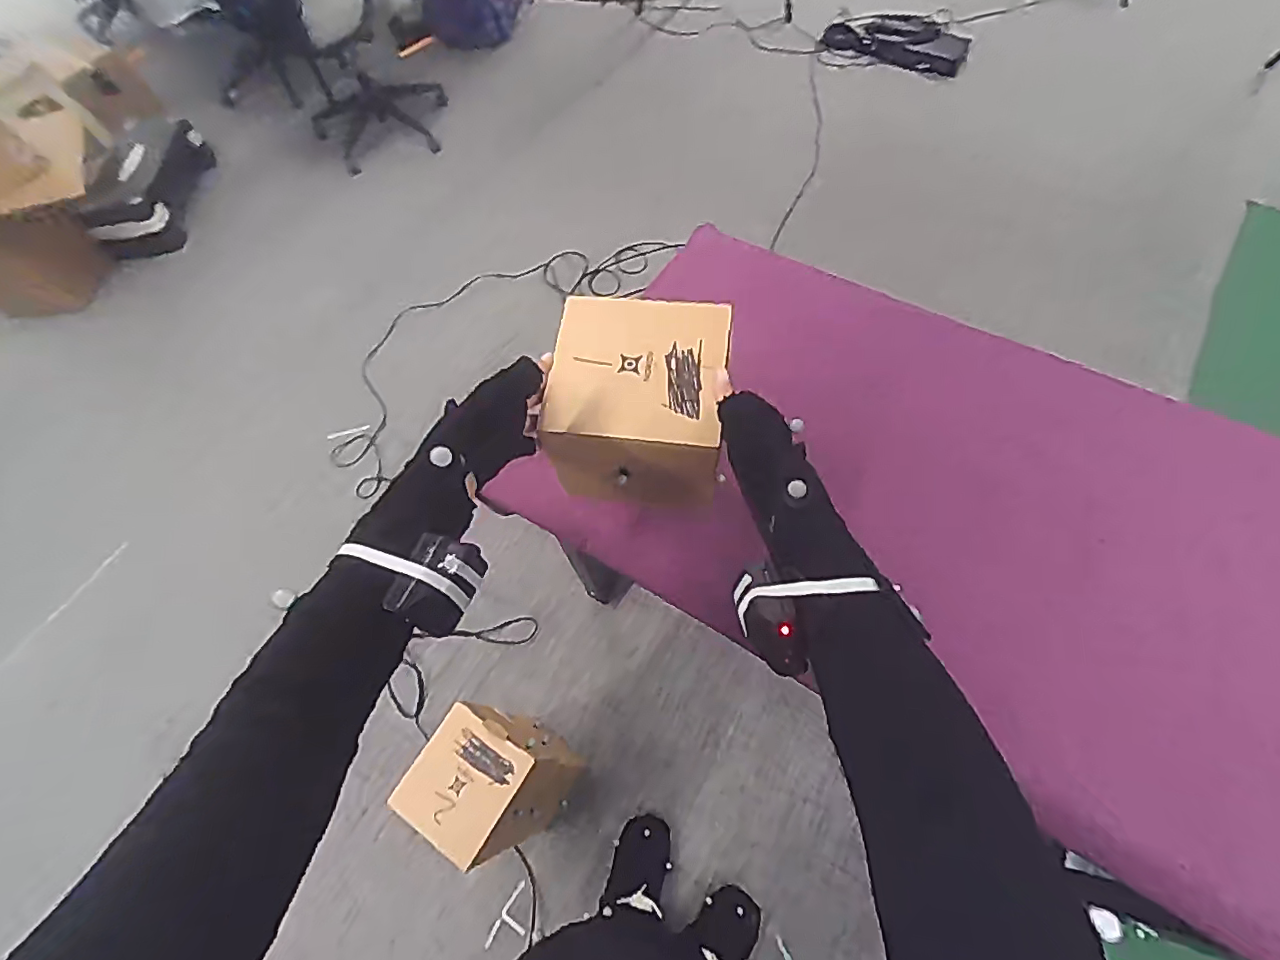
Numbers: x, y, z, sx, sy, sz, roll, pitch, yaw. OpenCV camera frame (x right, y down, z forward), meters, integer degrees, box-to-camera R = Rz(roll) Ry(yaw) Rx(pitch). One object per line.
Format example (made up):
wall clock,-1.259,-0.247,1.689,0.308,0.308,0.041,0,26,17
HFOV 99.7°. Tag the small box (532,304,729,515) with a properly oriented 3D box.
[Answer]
small box,-0.003,-0.069,0.605,0.179,0.176,0.168,7,66,5
